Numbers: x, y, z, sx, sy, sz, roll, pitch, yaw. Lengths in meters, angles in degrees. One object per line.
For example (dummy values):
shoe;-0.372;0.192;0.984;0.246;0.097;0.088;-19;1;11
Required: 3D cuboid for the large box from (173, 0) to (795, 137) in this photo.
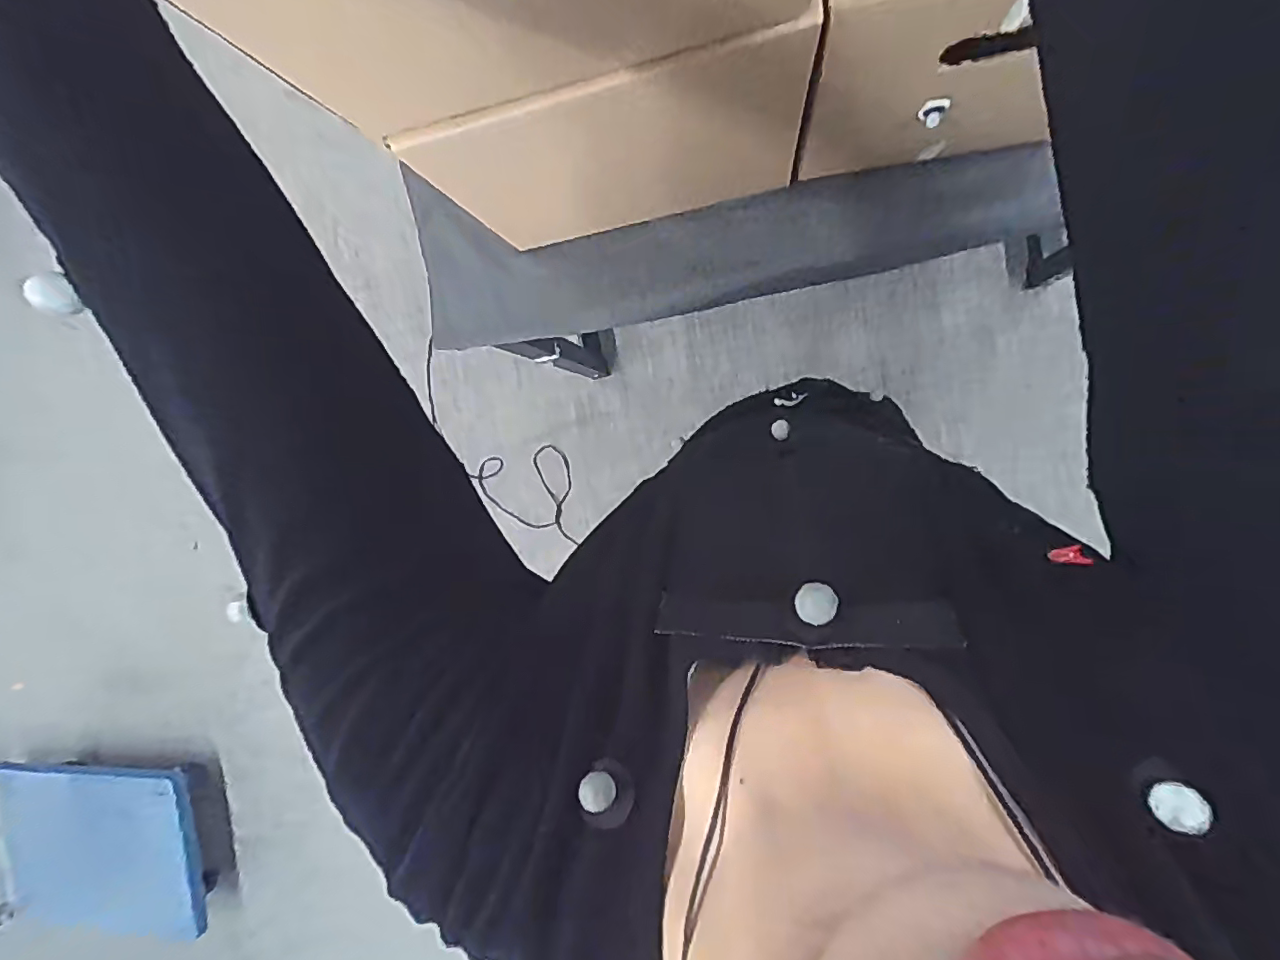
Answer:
large box;-0.108;-0.473;0.310;0.408;0.320;0.320;-8;97;12
